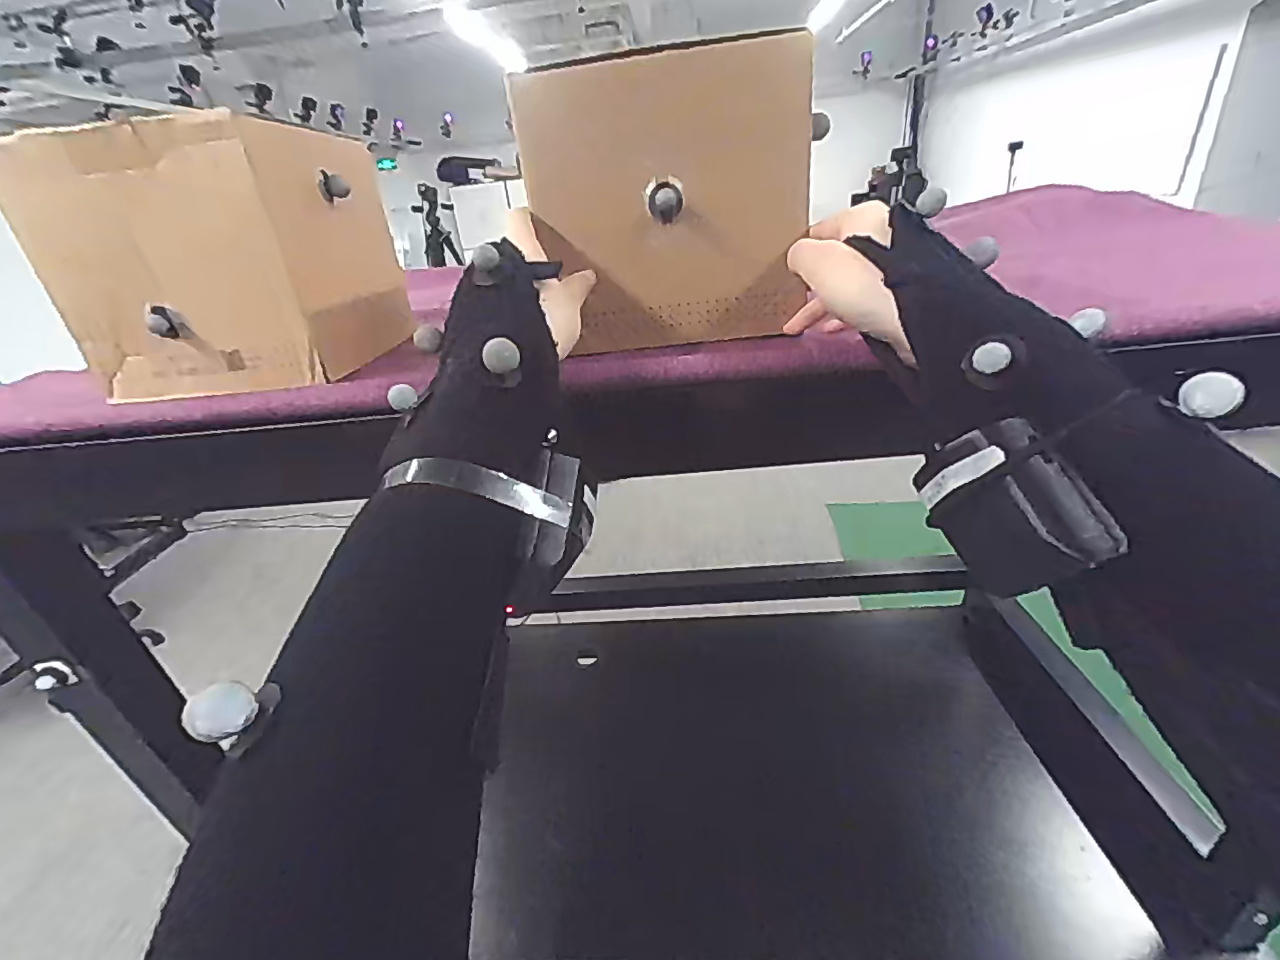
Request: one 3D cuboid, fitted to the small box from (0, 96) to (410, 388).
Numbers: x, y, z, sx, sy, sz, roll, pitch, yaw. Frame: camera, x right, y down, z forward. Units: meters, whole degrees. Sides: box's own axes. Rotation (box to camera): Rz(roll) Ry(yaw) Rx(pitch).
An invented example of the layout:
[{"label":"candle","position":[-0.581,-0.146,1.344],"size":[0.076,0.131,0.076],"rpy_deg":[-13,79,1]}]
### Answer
[{"label":"small box","position":[-0.303,-0.179,0.424],"size":[0.168,0.176,0.179],"rpy_deg":[-5,27,2]}]
